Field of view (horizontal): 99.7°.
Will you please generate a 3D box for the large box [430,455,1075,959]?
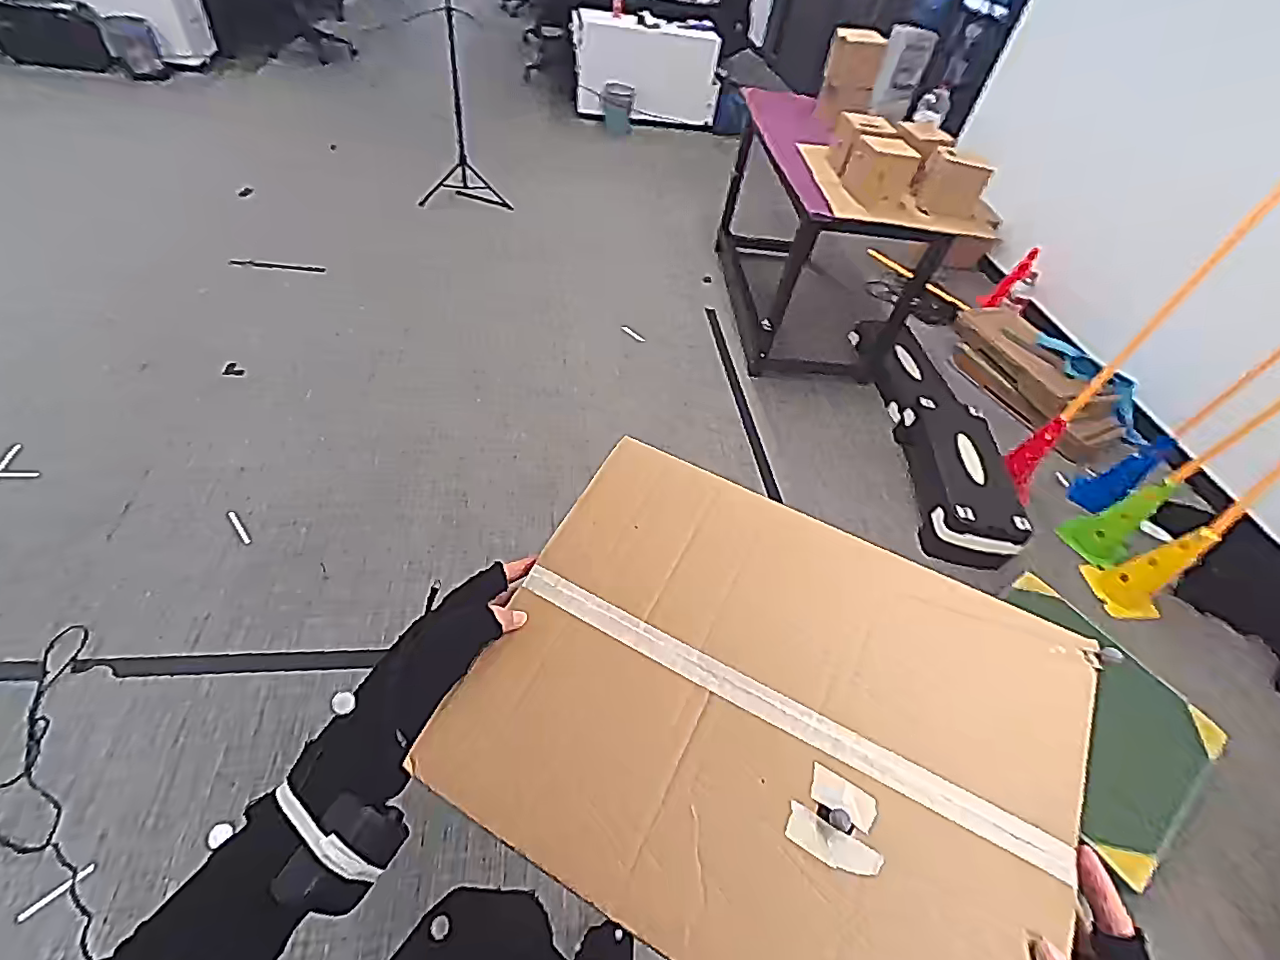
[{"bbox_3d":[0.093,0.242,0.527,0.408,0.320,0.320,25,63,15],"label":"large box"}]
